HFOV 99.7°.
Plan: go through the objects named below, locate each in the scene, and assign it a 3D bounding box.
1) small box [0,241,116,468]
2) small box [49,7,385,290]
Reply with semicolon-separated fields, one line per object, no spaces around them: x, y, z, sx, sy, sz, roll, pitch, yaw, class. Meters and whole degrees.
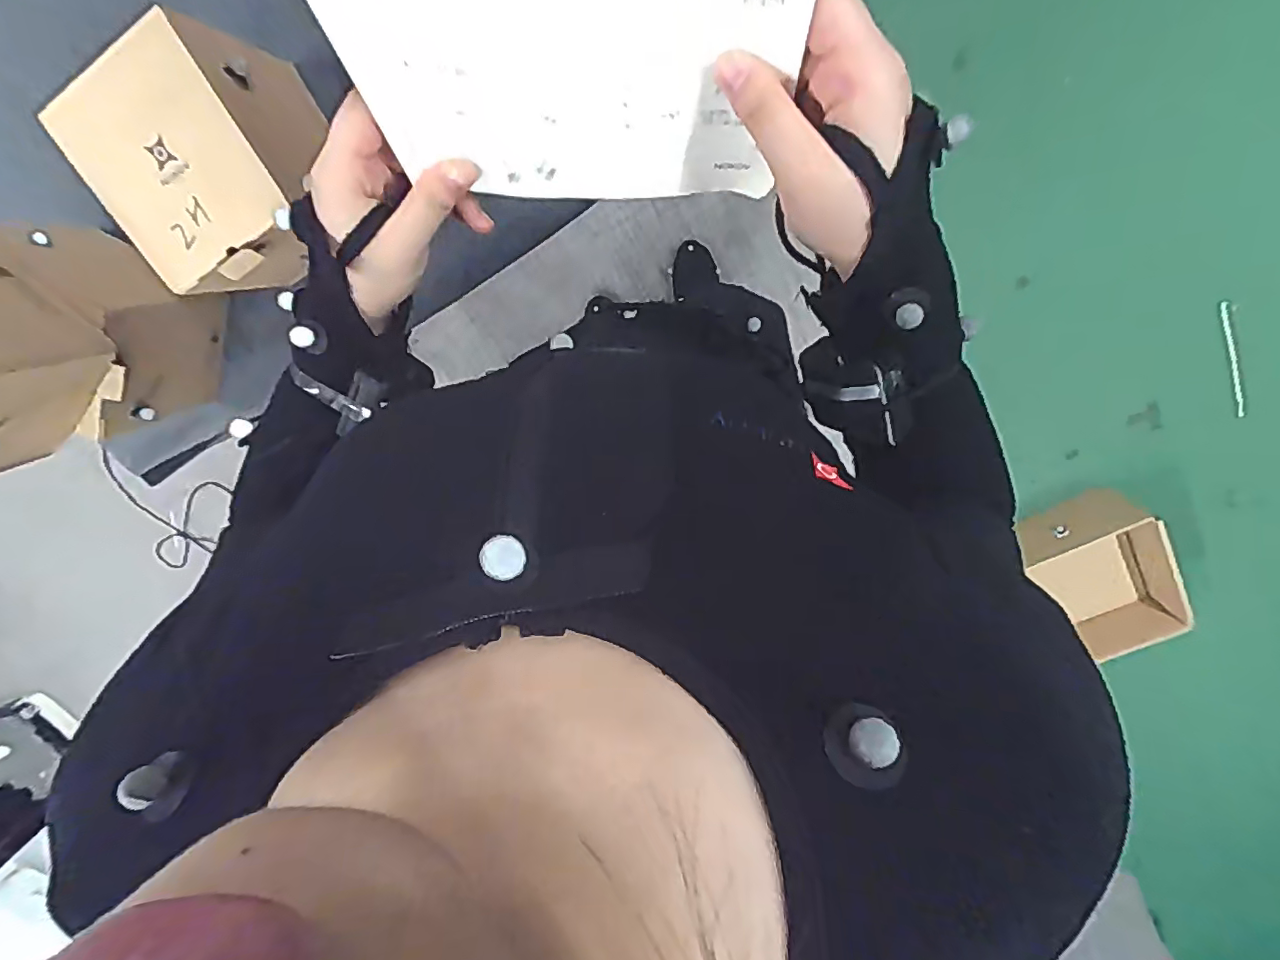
-0.658;-0.109;0.501;0.168;0.176;0.179;43;112;-14;small box
-0.415;-0.320;0.564;0.168;0.176;0.179;-24;109;16;small box
